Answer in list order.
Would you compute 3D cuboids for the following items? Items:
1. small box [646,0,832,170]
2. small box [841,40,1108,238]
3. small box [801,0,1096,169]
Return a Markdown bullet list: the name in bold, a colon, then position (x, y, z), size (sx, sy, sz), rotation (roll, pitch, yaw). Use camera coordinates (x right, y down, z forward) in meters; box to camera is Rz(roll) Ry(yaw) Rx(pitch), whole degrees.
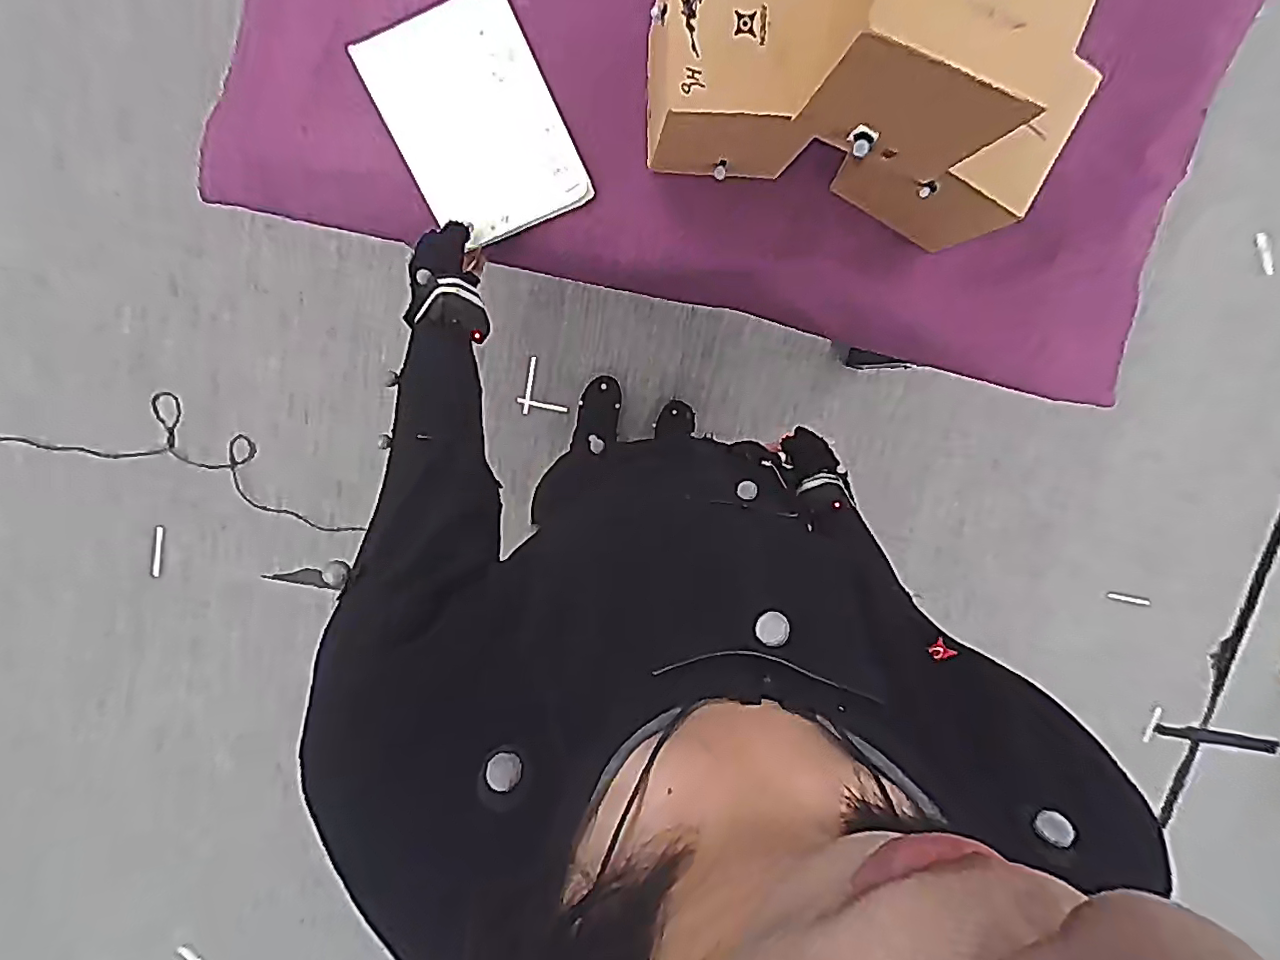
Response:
- **small box**: position (0.106, -0.473, 0.613), size (0.179, 0.176, 0.168), rotation (-1, 99, -6)
- **small box**: position (0.376, -0.419, 0.646), size (0.179, 0.176, 0.168), rotation (26, 97, -9)
- **small box**: position (0.264, -0.415, 0.472), size (0.168, 0.176, 0.179), rotation (17, 98, -6)
